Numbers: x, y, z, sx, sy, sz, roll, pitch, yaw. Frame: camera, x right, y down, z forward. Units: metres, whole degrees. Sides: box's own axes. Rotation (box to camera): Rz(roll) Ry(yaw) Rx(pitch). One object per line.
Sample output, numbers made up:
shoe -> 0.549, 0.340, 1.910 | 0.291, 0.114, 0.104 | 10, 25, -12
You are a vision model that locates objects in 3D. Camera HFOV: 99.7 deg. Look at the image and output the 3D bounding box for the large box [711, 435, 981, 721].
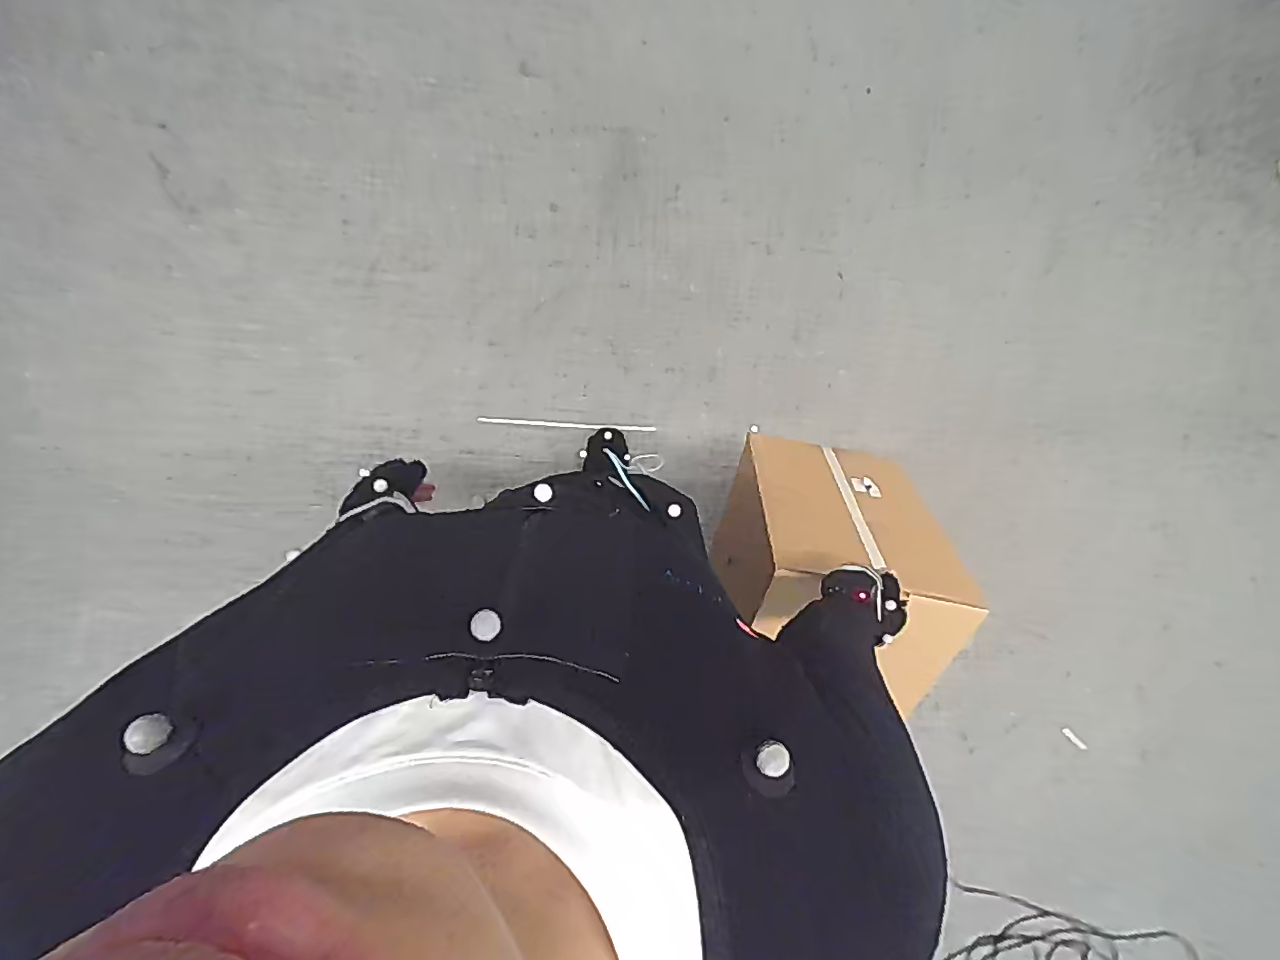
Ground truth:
large box -> 0.324, 0.166, 1.006 | 0.320, 0.408, 0.320 | 12, 121, -3
